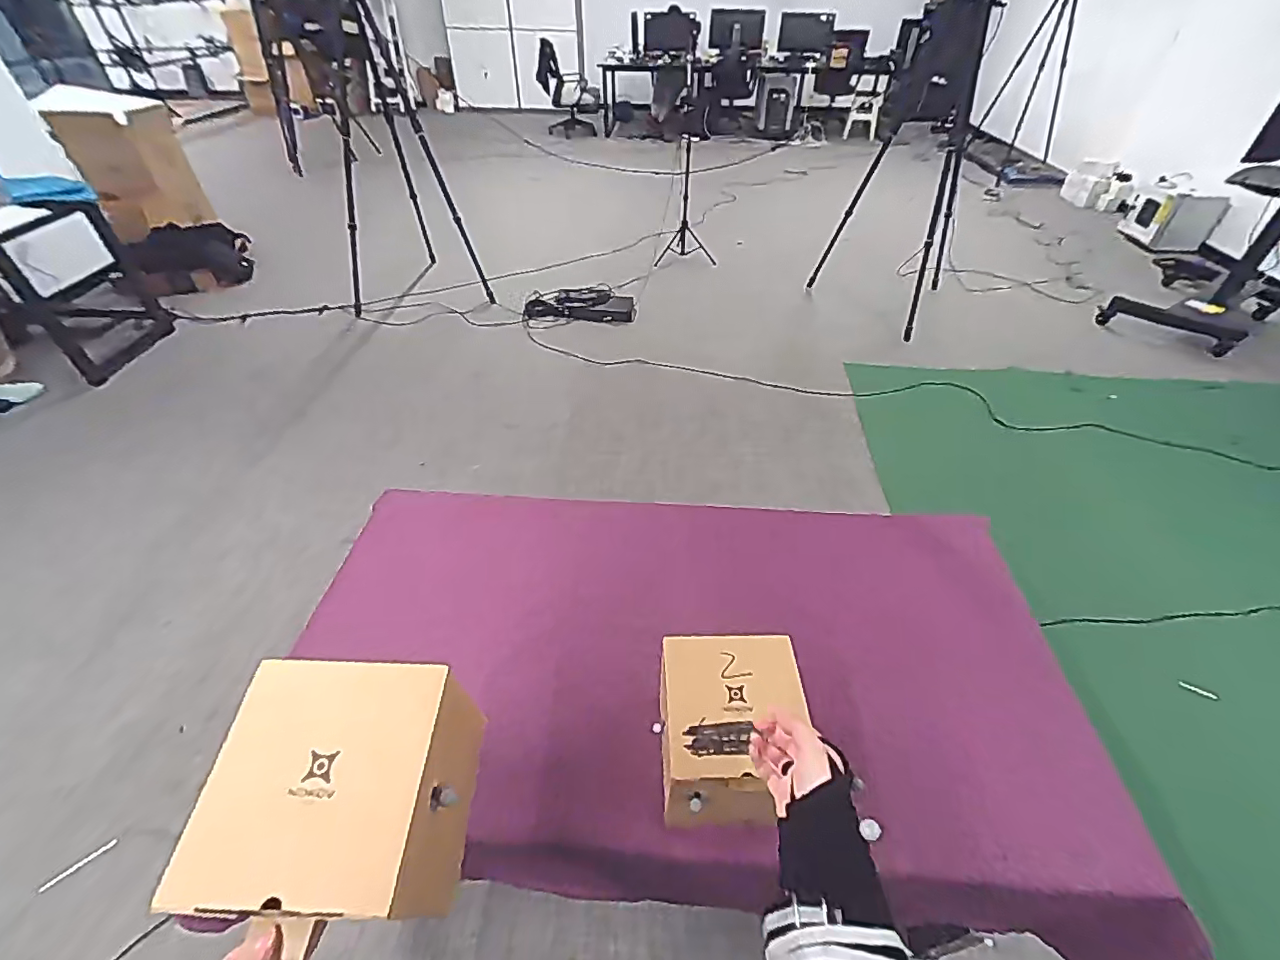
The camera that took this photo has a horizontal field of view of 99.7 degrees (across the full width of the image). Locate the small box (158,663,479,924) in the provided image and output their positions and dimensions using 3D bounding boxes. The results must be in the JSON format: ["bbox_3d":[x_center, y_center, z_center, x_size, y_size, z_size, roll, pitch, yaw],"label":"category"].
[{"bbox_3d":[-0.254,0.283,0.489,0.168,0.176,0.179,2,53,0],"label":"small box"}]
